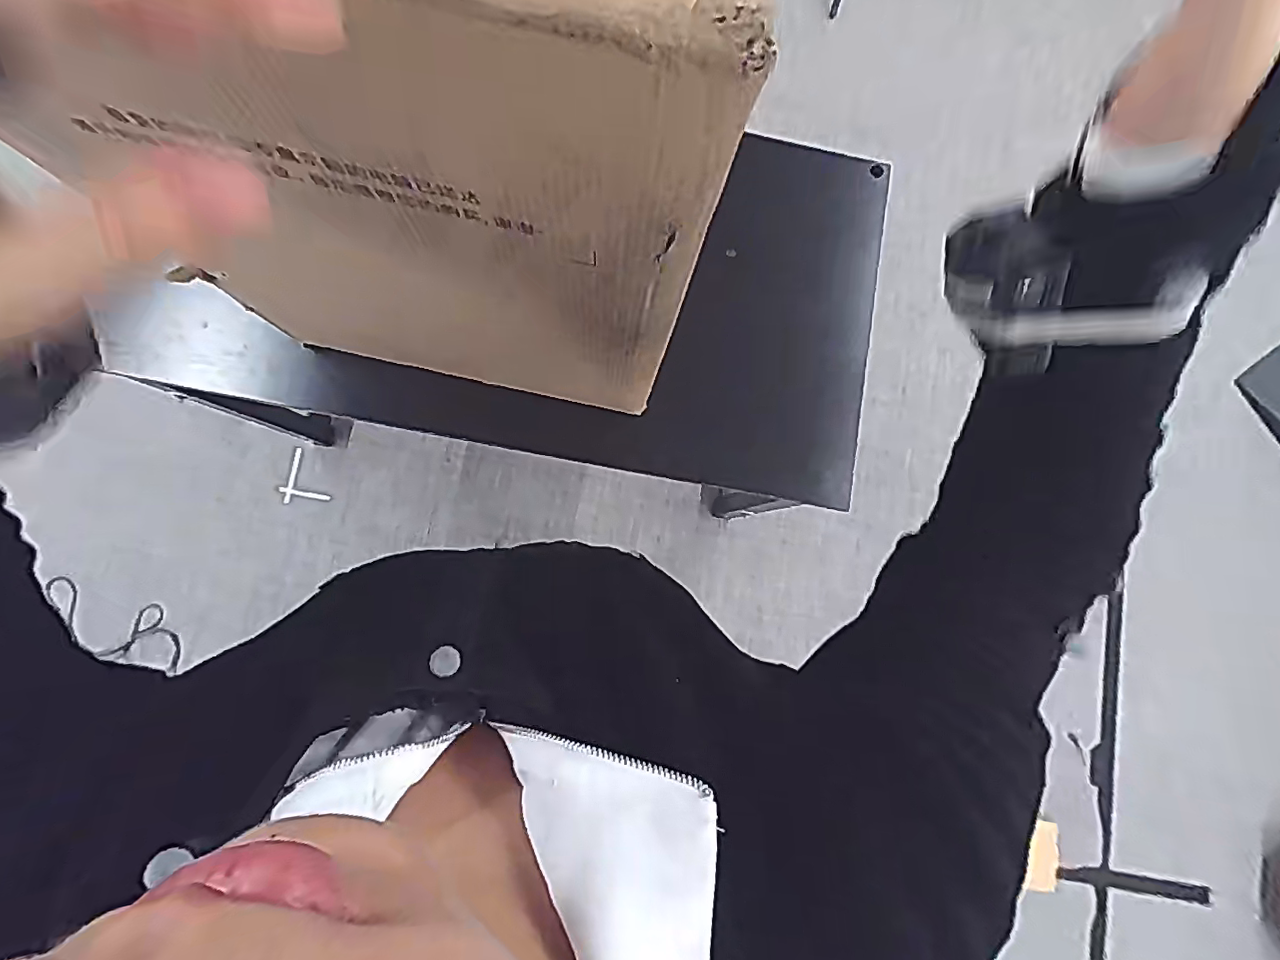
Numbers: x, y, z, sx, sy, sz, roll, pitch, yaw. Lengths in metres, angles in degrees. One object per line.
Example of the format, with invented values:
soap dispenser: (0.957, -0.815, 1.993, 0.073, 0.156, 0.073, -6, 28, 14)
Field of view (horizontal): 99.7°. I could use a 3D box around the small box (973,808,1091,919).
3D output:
small box: (0.992, 0.967, 1.376, 0.179, 0.176, 0.168, 10, 82, -3)
